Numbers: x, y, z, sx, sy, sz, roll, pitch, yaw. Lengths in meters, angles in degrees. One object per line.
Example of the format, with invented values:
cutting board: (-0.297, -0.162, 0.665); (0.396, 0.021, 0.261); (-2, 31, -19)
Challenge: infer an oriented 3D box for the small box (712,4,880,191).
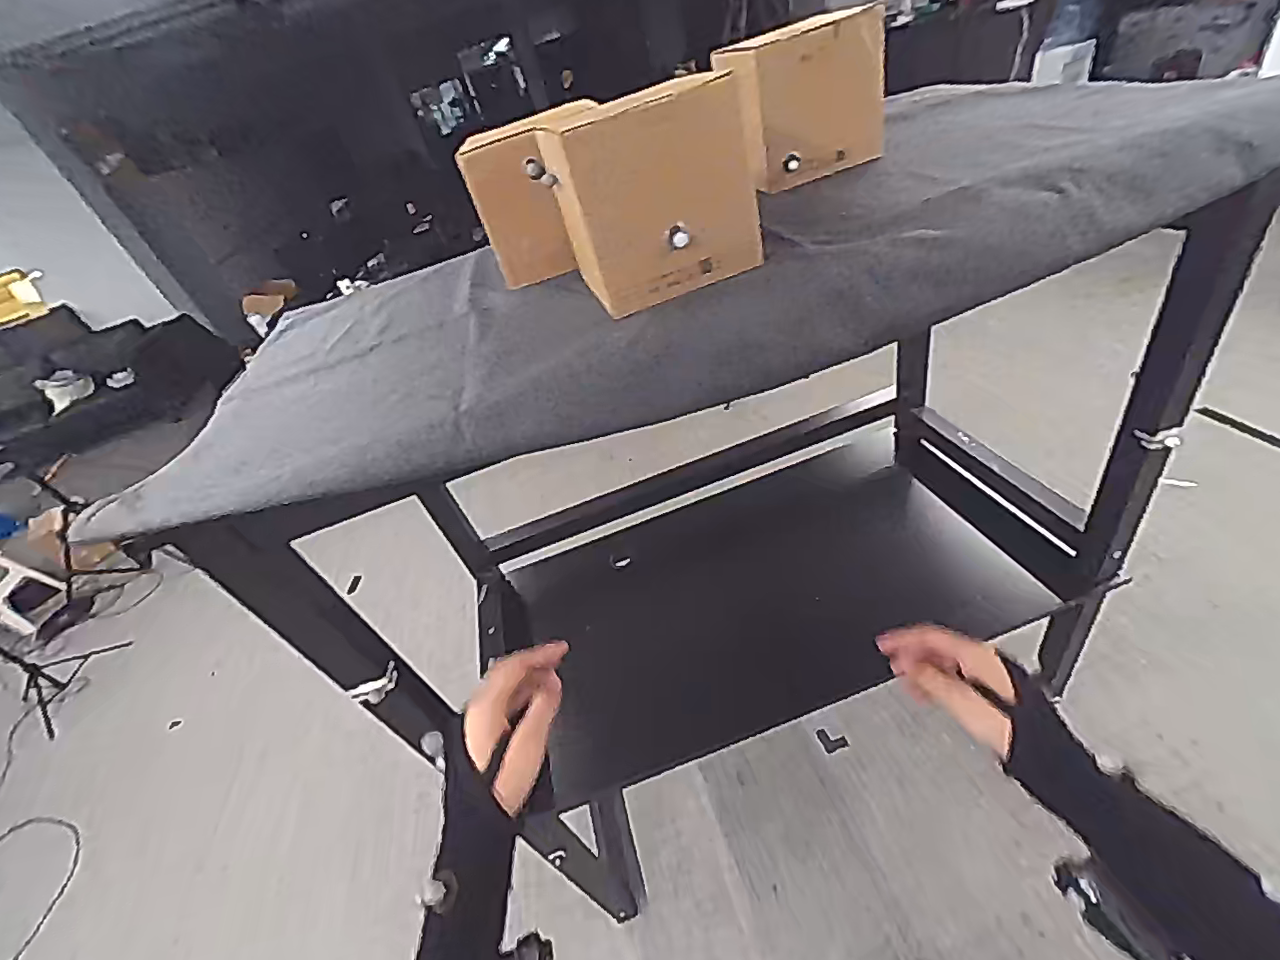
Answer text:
small box: (0.216, -0.525, 0.757); (0.168, 0.176, 0.179); (-19, 38, 0)

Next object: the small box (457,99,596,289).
small box: (-0.121, -0.384, 0.728); (0.179, 0.176, 0.168); (-18, 38, 2)

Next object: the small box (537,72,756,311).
small box: (0.006, -0.298, 0.567); (0.168, 0.176, 0.179); (-22, 37, -3)
